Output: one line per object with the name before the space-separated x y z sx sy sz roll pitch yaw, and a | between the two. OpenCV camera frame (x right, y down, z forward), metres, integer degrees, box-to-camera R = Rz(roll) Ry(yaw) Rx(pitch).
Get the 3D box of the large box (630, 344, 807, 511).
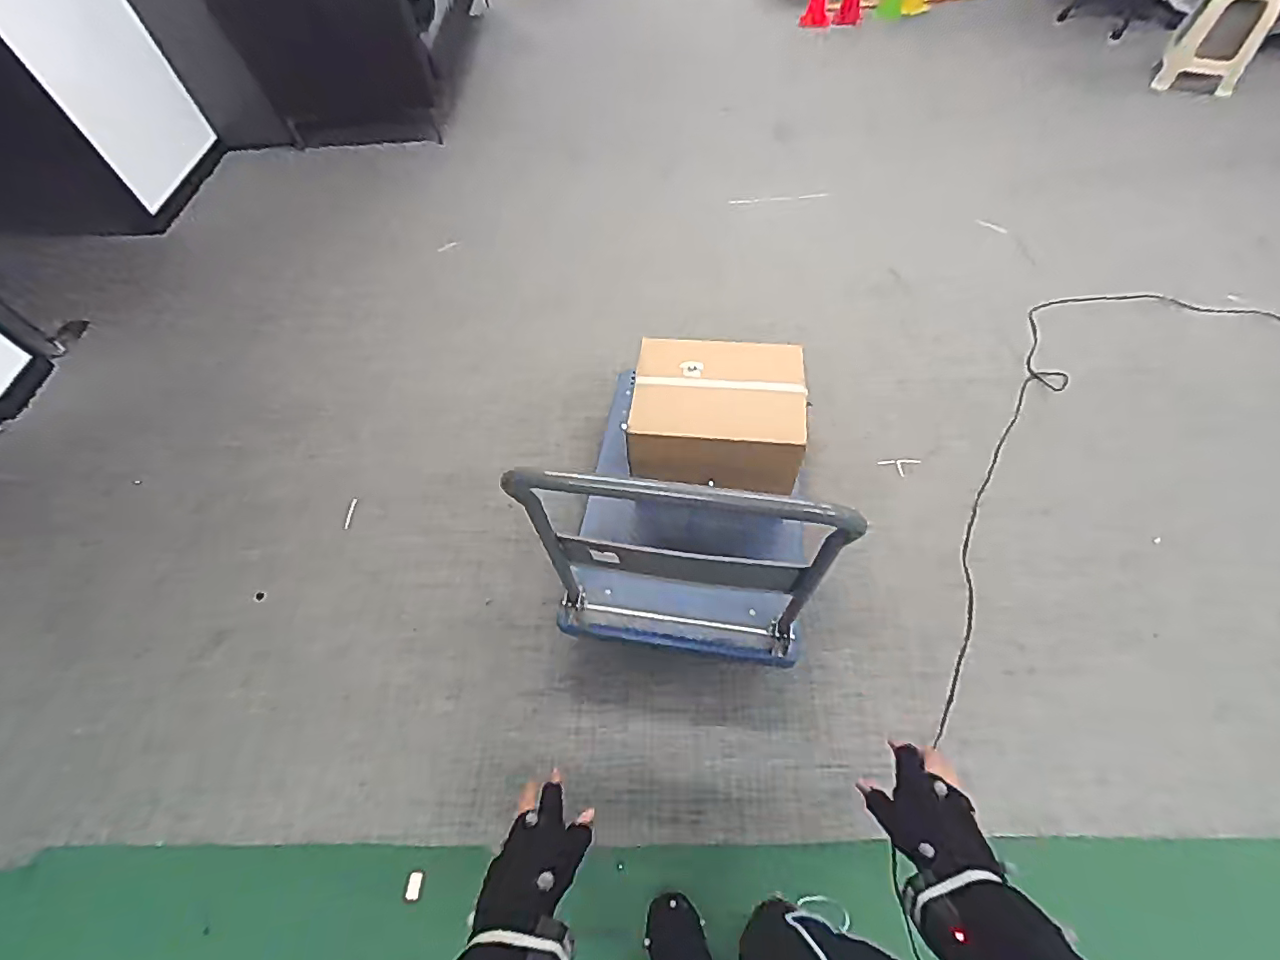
large box | 0.202 -0.133 1.420 0.408 0.320 0.320 4 56 8
